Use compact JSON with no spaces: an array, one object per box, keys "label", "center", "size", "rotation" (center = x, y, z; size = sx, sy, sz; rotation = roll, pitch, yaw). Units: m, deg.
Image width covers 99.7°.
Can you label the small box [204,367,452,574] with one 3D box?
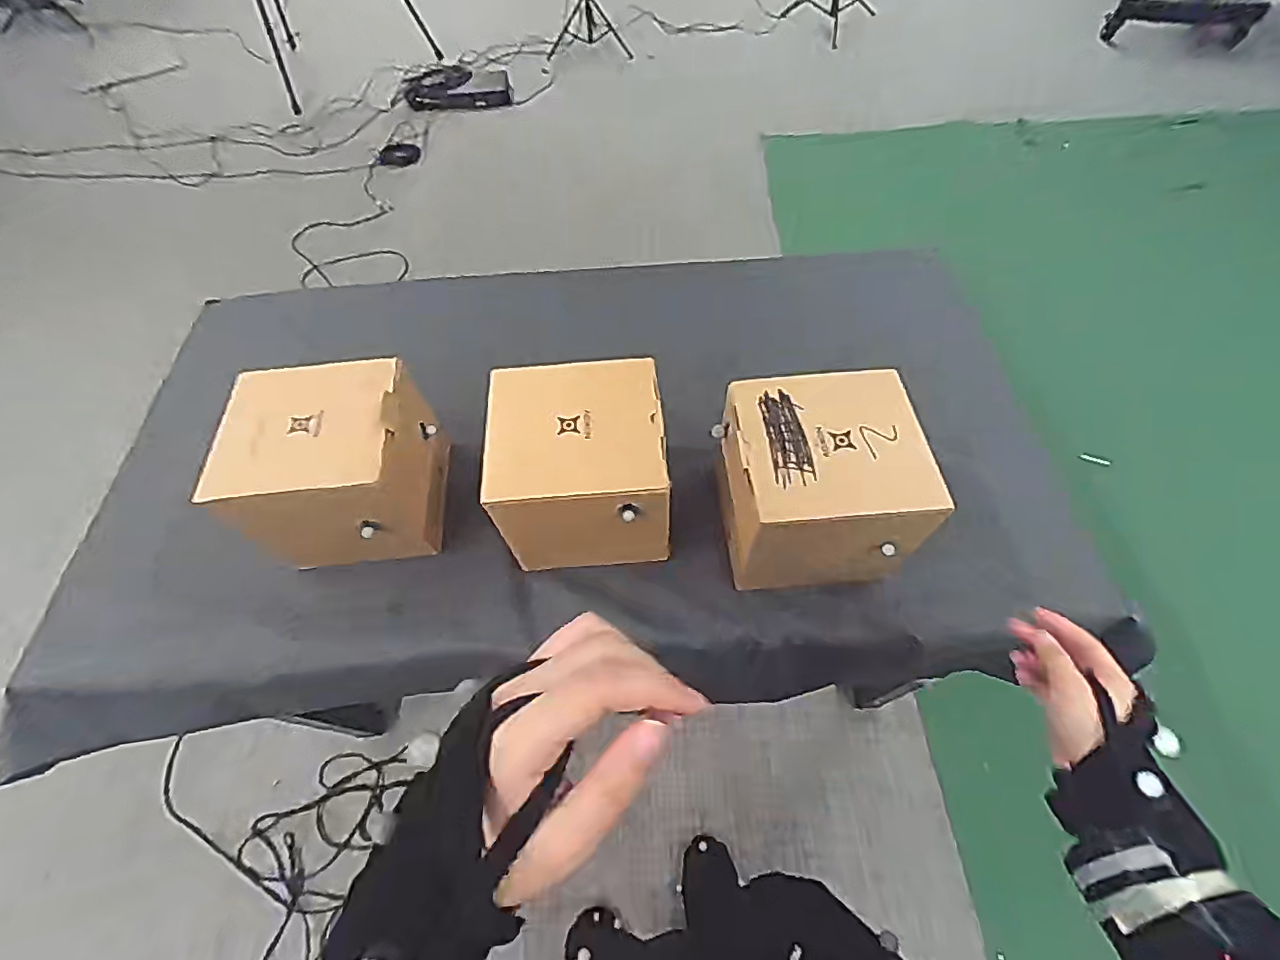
[{"label":"small box","center":[-0.331,-0.005,0.621],"size":[0.179,0.176,0.168],"rotation":[-7,57,-1]}]

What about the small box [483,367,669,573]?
[{"label":"small box","center":[-0.061,-0.004,0.609],"size":[0.179,0.176,0.168],"rotation":[-5,58,-1]}]
